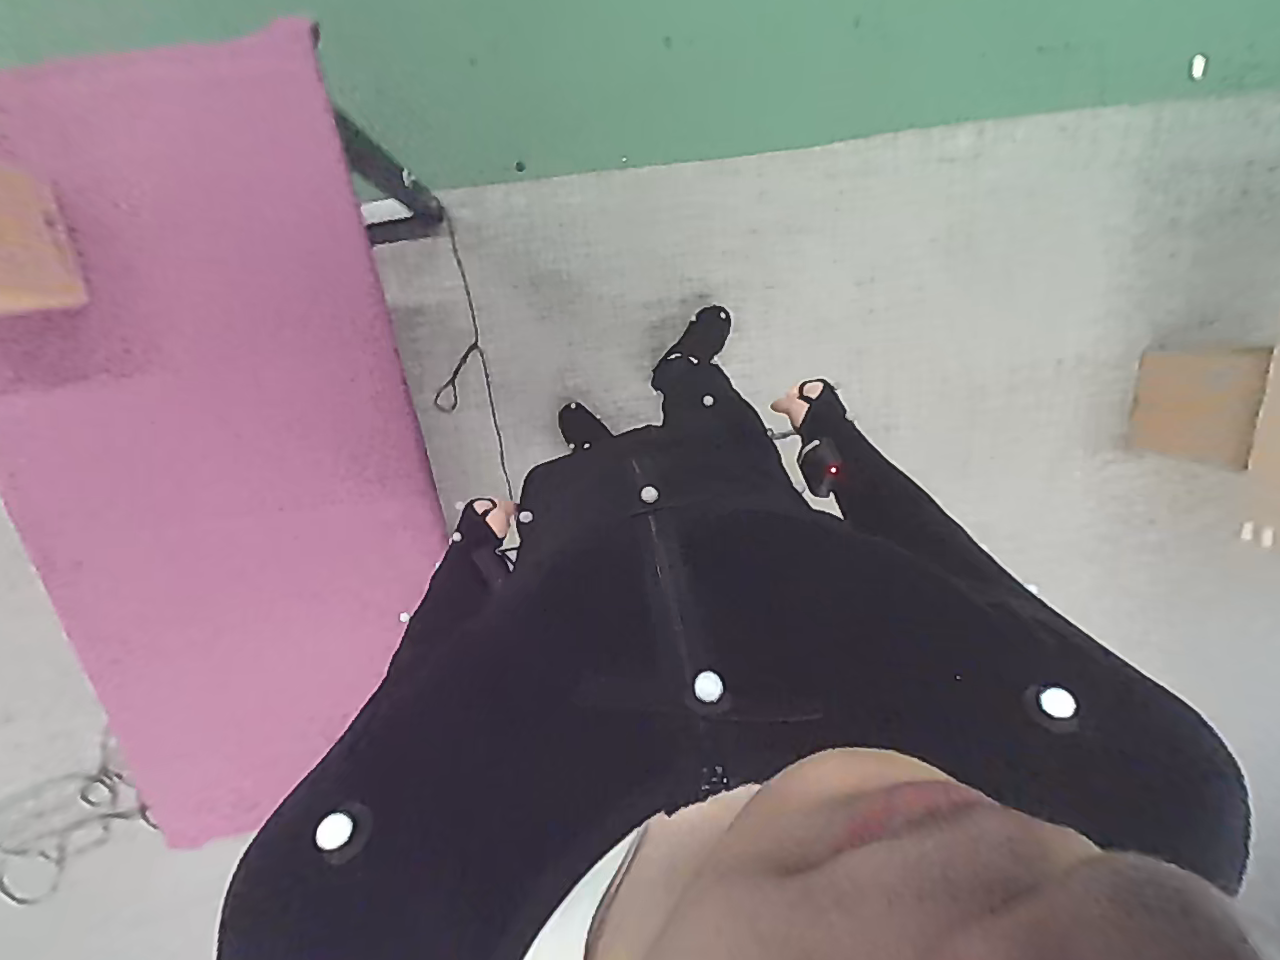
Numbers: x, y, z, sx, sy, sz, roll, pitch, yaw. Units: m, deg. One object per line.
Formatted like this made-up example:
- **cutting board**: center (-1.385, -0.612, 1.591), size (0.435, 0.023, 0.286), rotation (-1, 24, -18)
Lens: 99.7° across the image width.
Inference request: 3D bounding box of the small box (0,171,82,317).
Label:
- **small box**: center (-0.867, -0.290, 0.660), size (0.179, 0.176, 0.168), rotation (-7, 104, -2)
